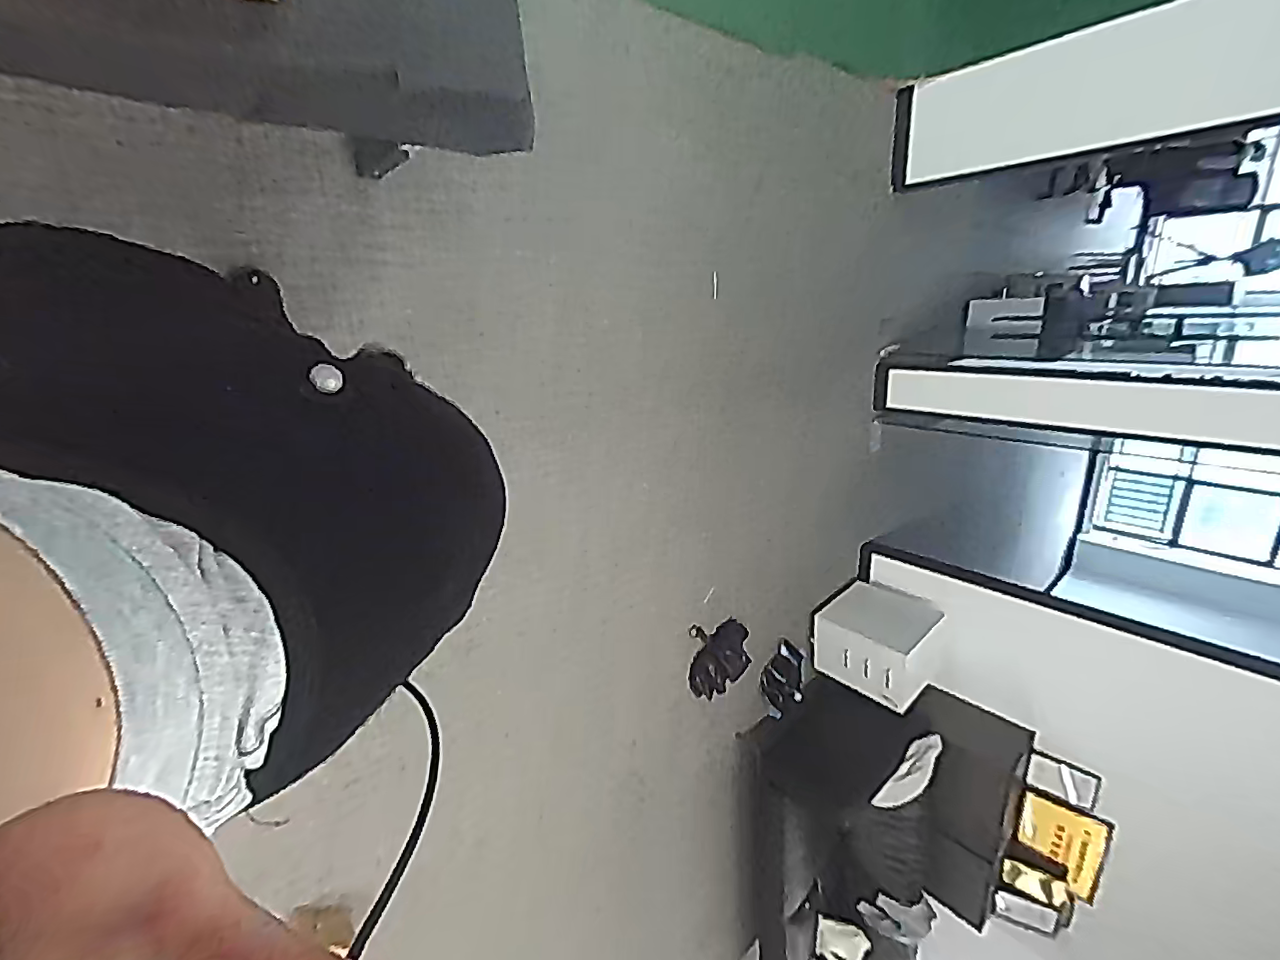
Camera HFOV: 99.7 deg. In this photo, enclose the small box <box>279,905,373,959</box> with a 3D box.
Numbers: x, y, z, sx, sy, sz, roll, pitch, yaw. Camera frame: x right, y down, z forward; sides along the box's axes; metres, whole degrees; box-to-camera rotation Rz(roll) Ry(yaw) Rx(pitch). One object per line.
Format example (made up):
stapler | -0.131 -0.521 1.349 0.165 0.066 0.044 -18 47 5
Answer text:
small box | -0.933 1.399 1.598 0.168 0.176 0.179 37 77 -41
